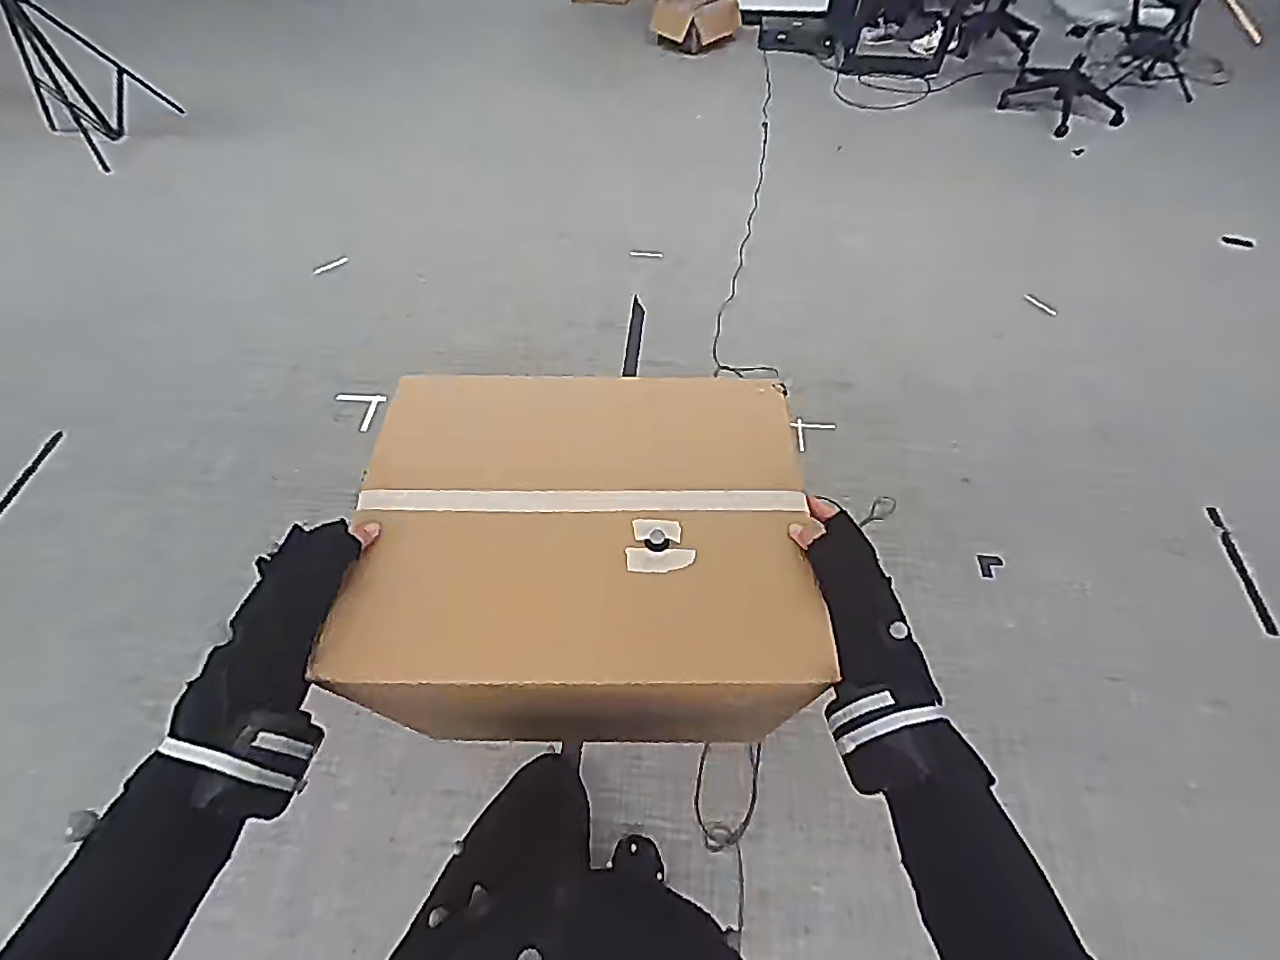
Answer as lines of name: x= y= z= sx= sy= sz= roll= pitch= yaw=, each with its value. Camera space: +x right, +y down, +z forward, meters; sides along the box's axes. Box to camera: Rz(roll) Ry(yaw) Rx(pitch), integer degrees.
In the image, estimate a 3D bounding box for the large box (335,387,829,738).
large box: x=-0.051 y=0.107 z=0.634 sx=0.408 sy=0.320 sz=0.320 roll=1 pitch=57 yaw=-1
